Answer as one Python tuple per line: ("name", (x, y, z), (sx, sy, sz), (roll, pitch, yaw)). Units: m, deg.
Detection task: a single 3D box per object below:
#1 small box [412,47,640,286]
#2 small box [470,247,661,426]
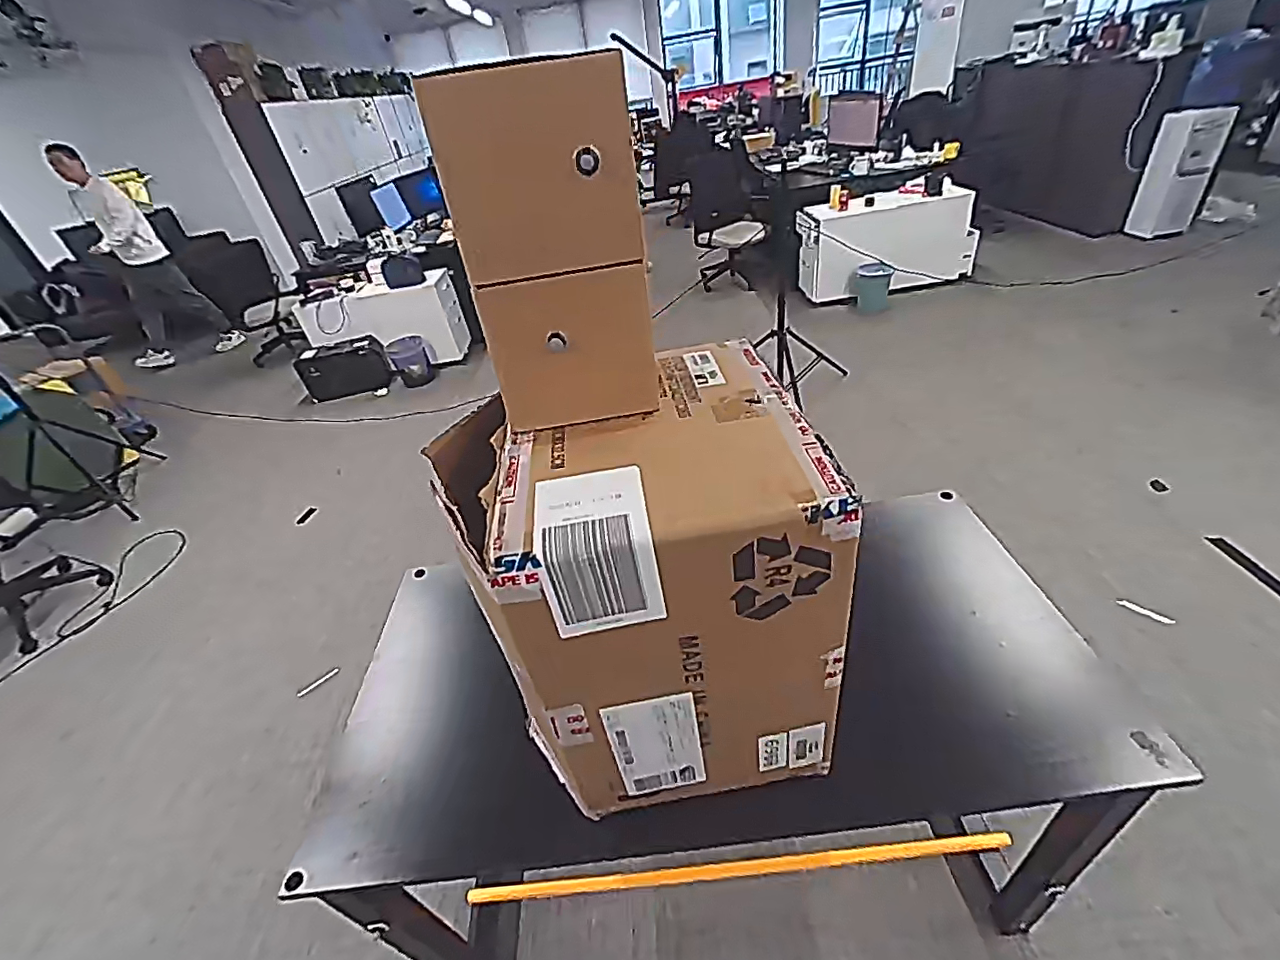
("small box", (-0.099, -0.310, 0.545), (0.179, 0.176, 0.168), (-11, 33, -3))
("small box", (-0.080, -0.179, 0.640), (0.179, 0.176, 0.168), (-10, 34, -1))
